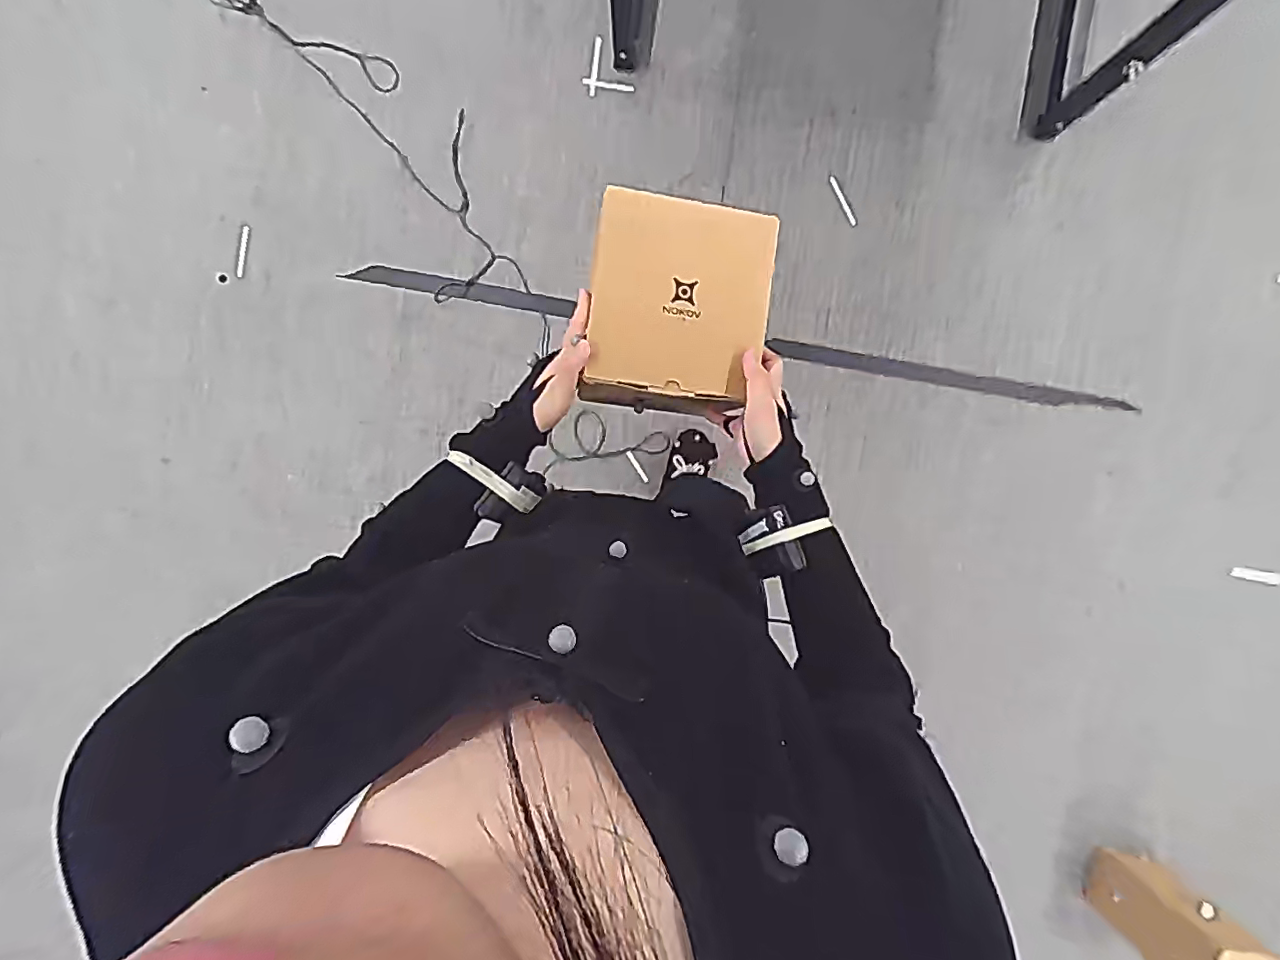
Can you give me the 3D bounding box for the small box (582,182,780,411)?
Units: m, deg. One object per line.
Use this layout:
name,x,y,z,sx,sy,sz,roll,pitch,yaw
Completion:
small box,0.030,-0.174,0.572,0.168,0.176,0.179,6,93,-8

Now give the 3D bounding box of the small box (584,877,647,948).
small box,-0.070,1.229,1.475,0.168,0.176,0.179,5,94,1

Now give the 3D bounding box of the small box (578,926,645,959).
small box,-0.076,1.236,1.311,0.168,0.176,0.179,6,93,0

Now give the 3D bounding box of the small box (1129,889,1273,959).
small box,1.343,1.148,1.303,0.168,0.176,0.179,13,92,-1
